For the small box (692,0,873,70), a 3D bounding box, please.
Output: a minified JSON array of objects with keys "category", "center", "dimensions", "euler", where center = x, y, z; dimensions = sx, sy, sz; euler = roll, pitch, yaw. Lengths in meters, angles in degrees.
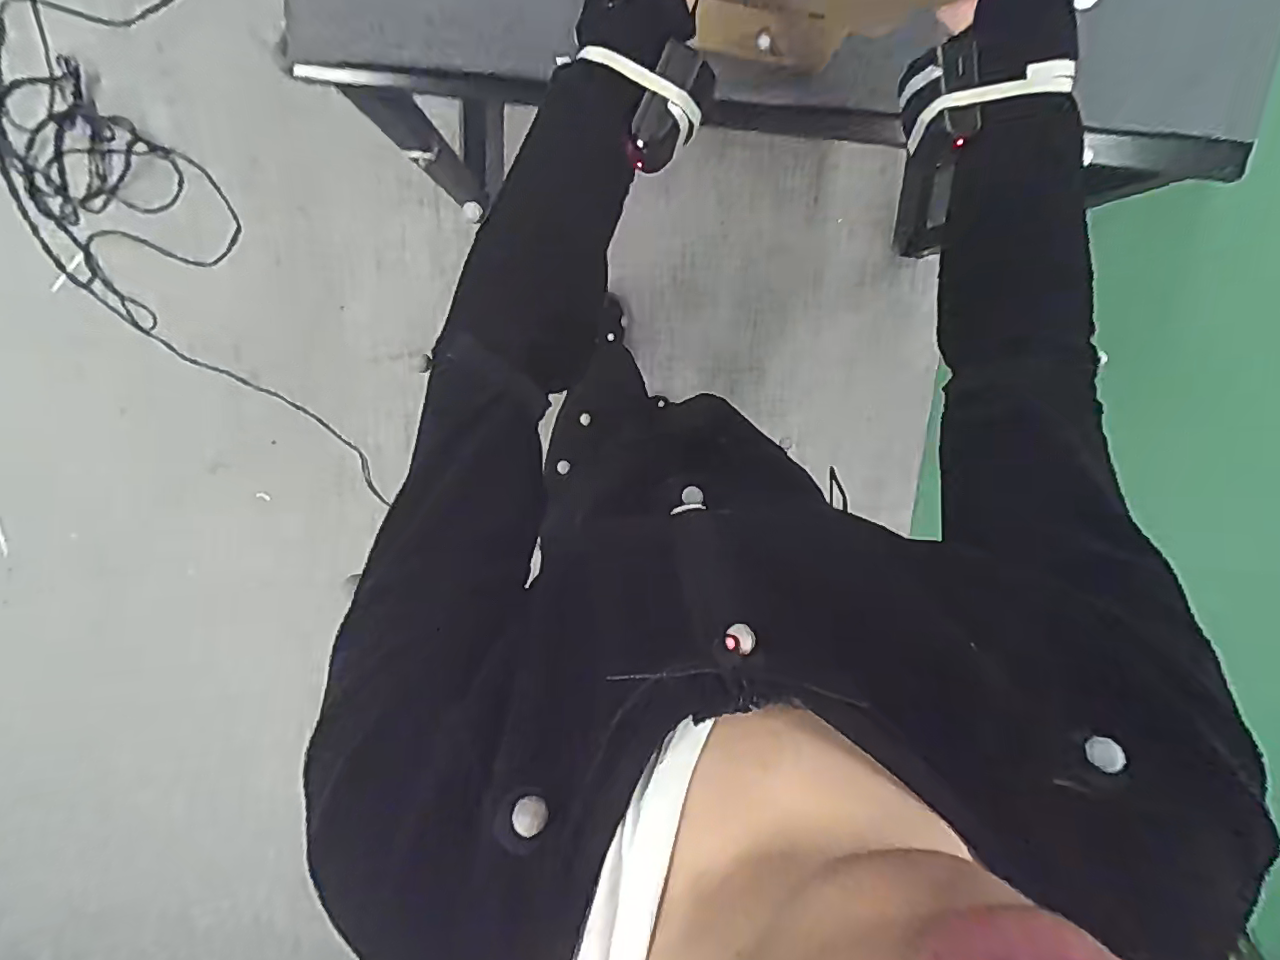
[{"category":"small box","center":[0.154,-0.565,0.543],"dimensions":[0.168,0.176,0.179],"euler":[7,102,-5]}]
